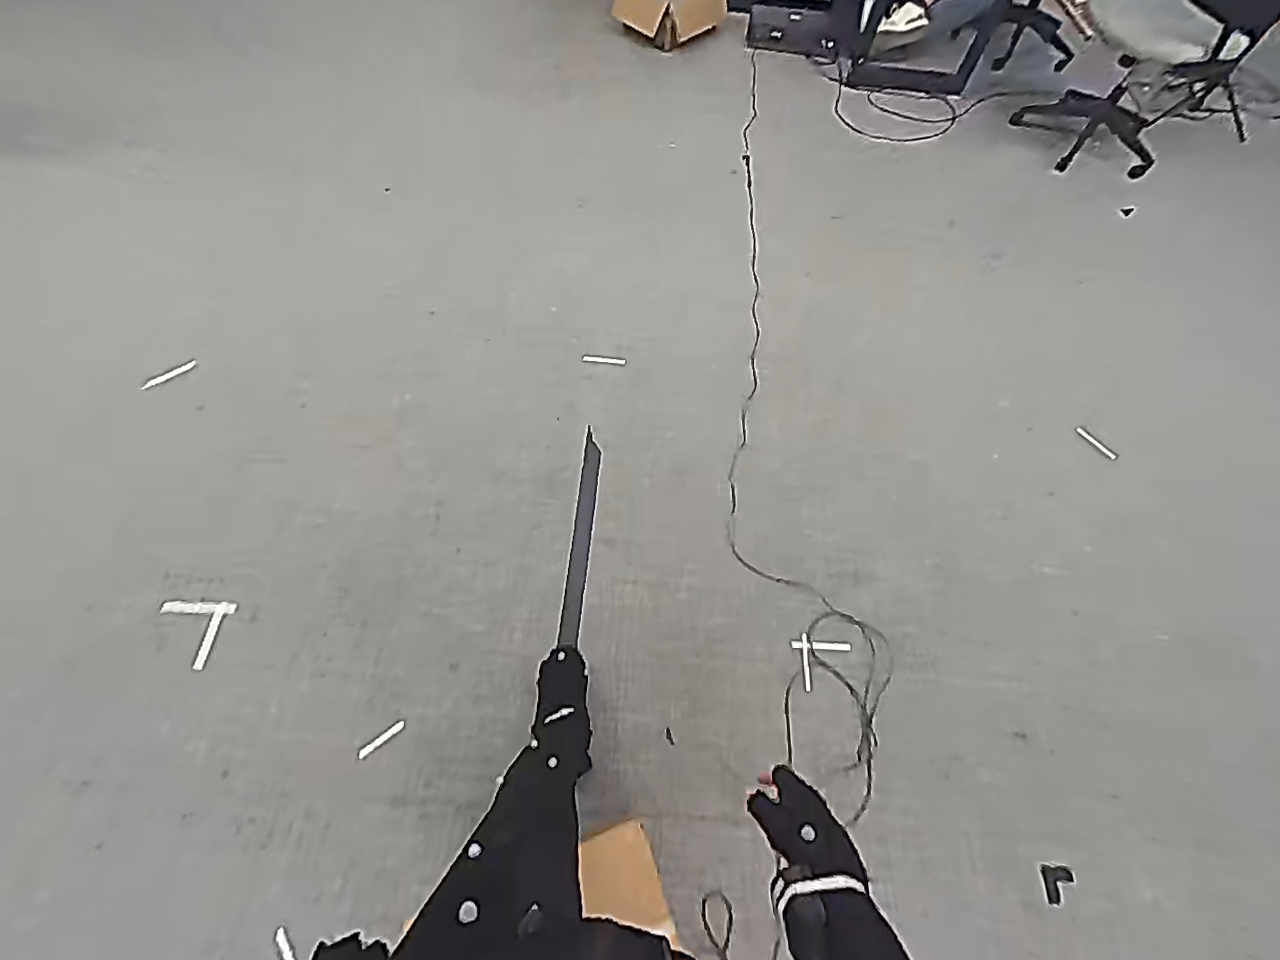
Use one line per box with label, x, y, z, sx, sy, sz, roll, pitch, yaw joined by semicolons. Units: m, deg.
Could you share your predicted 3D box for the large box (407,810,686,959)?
large box;-0.145;0.836;0.964;0.408;0.320;0.320;-16;63;-13
